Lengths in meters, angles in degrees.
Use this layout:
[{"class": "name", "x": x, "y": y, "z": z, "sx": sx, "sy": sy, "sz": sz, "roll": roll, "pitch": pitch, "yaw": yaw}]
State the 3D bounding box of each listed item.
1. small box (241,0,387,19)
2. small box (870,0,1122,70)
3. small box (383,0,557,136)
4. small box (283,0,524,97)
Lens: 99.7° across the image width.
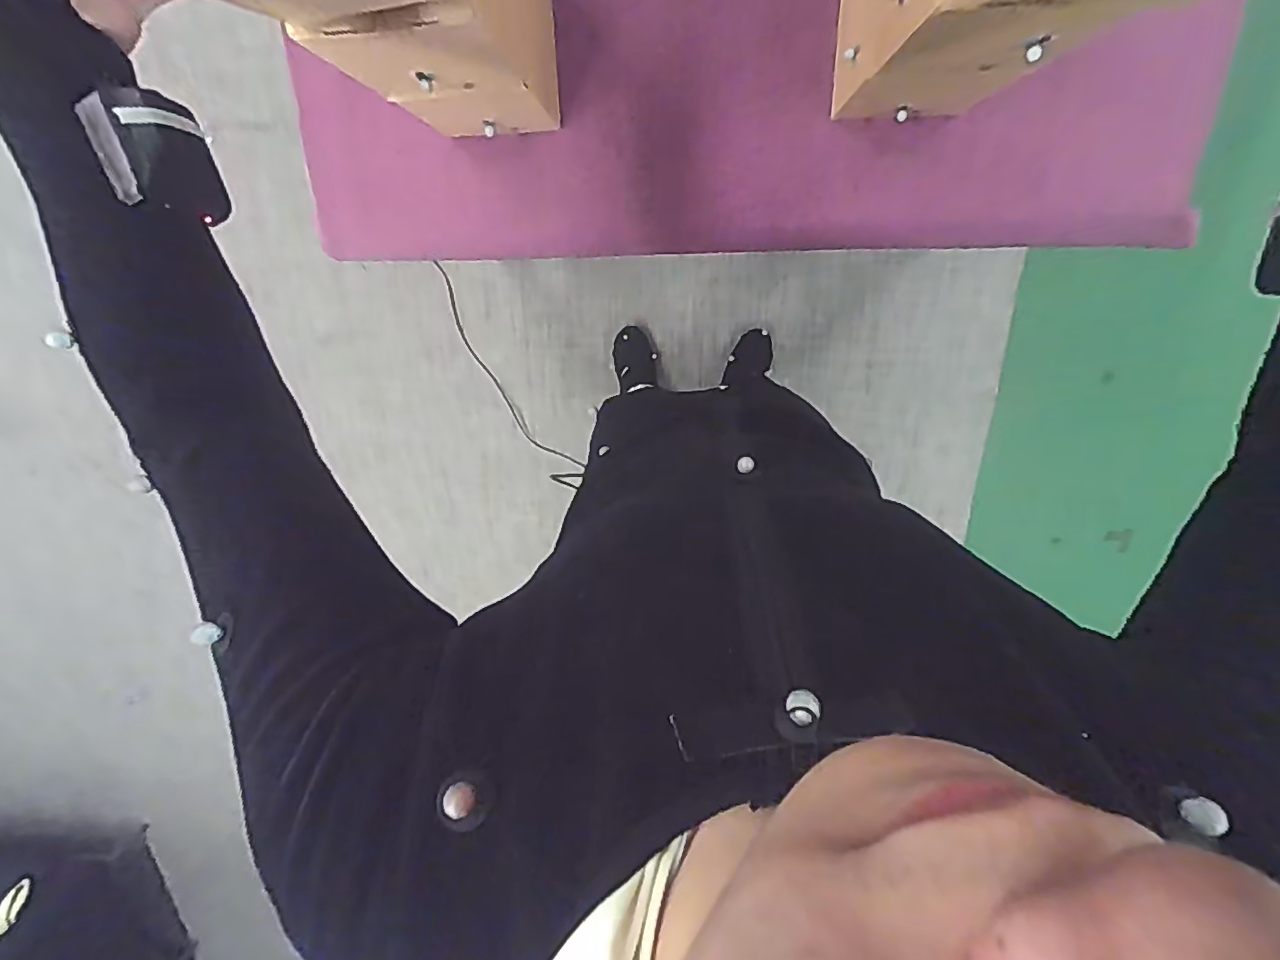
[{"class": "small box", "x": -0.245, "y": -0.416, "z": 0.327, "sx": 0.179, "sy": 0.176, "sz": 0.168, "roll": 6, "pitch": 117, "yaw": 19}, {"class": "small box", "x": 0.306, "y": -0.473, "z": 0.453, "sx": 0.168, "sy": 0.176, "sz": 0.179, "roll": 0, "pitch": 110, "yaw": 5}, {"class": "small box", "x": -0.203, "y": -0.542, "z": 0.654, "sx": 0.168, "sy": 0.176, "sz": 0.179, "roll": 0, "pitch": 110, "yaw": 6}, {"class": "small box", "x": -0.217, "y": -0.488, "z": 0.501, "sx": 0.168, "sy": 0.176, "sz": 0.179, "roll": -1, "pitch": 111, "yaw": 6}]
